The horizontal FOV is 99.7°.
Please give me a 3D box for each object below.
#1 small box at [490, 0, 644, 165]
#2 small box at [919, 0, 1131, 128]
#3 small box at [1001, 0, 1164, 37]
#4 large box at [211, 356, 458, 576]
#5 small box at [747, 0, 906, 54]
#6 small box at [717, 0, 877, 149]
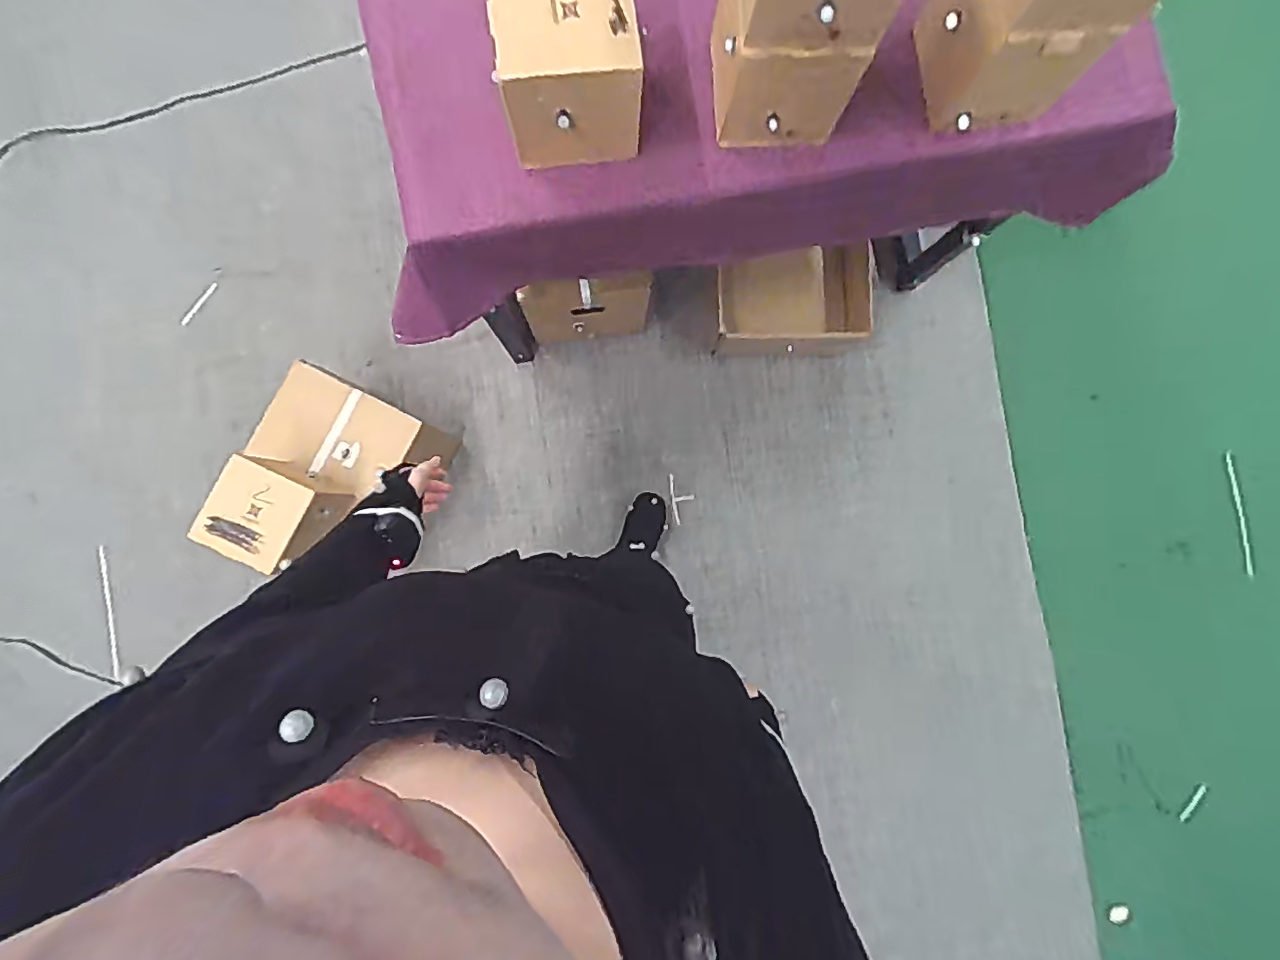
[{"bbox_3d":[-0.091,-0.552,0.725,0.179,0.176,0.168,-7,88,-2],"label":"small box"},{"bbox_3d":[0.522,-0.627,0.758,0.168,0.176,0.179,-7,87,-3],"label":"small box"},{"bbox_3d":[0.534,-0.638,0.596,0.179,0.176,0.168,-6,86,-3],"label":"small box"},{"bbox_3d":[-0.714,-0.021,1.329,0.320,0.320,0.408,28,85,-2],"label":"large box"},{"bbox_3d":[0.212,-0.611,0.579,0.168,0.176,0.179,-1,88,-2],"label":"small box"},{"bbox_3d":[0.203,-0.595,0.743,0.168,0.176,0.179,-2,88,-3],"label":"small box"}]
